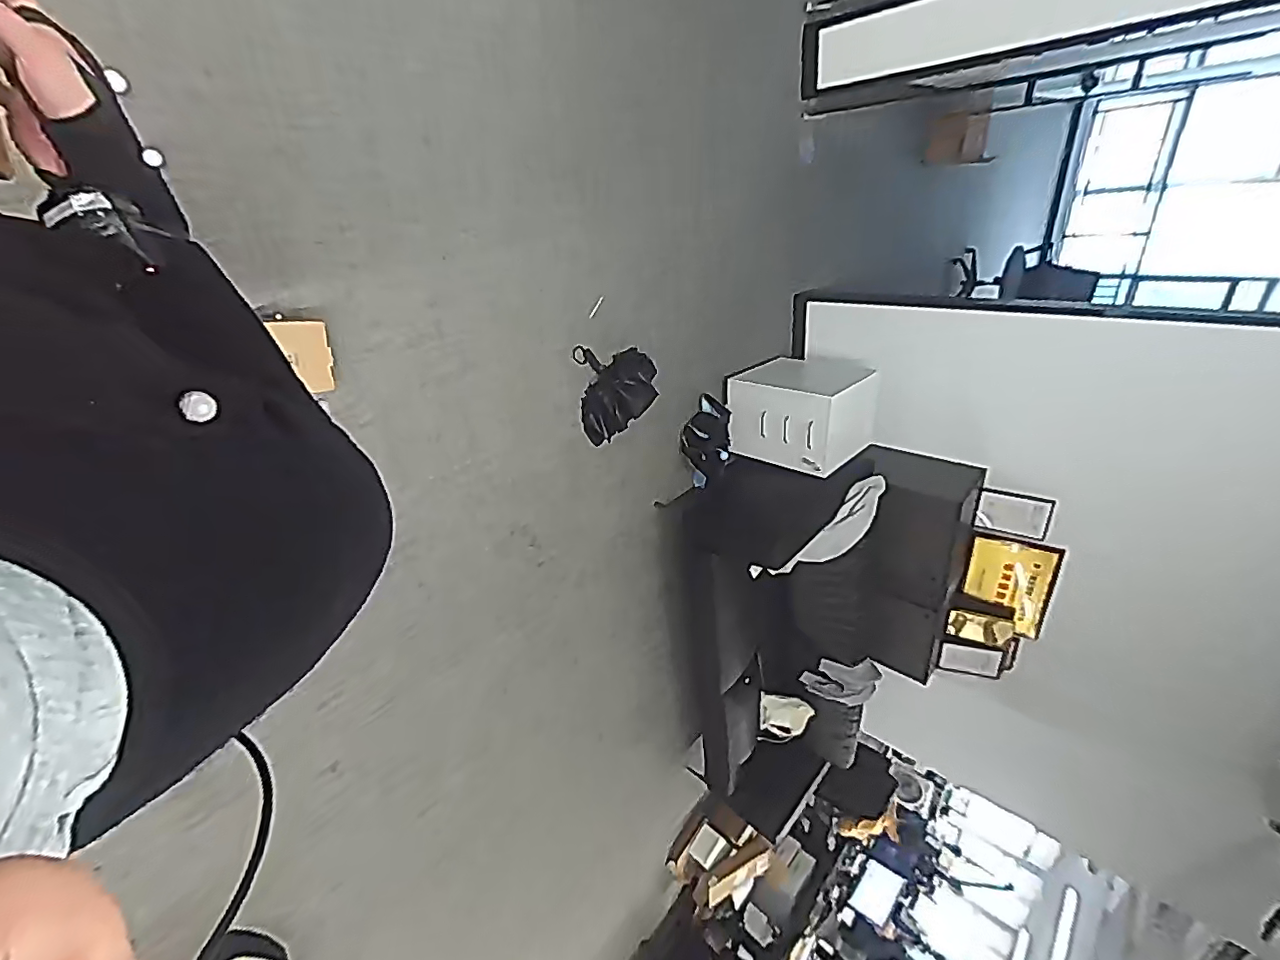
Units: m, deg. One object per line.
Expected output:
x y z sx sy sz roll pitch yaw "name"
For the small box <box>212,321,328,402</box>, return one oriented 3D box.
-0.877 -0.287 1.283 0.179 0.176 0.168 -19 118 -43 "small box"
